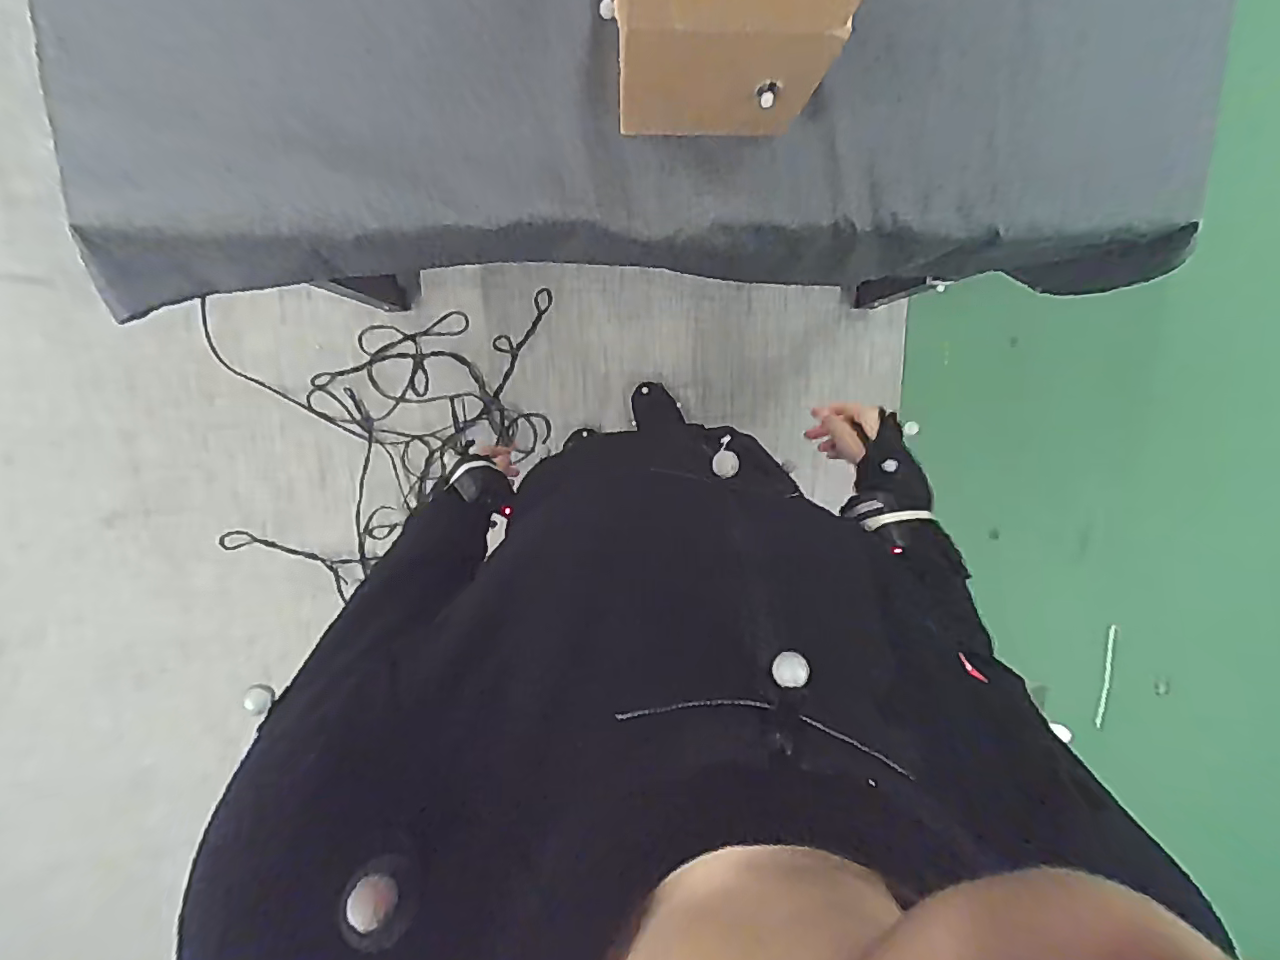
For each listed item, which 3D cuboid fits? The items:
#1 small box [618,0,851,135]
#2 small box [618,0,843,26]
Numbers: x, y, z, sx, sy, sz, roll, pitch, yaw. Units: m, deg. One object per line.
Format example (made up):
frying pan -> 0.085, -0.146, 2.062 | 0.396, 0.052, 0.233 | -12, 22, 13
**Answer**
small box -> 0.069, -0.431, 0.475 | 0.179, 0.176, 0.168 | -1, 98, -2
small box -> 0.069, -0.411, 0.314 | 0.179, 0.176, 0.168 | 0, 98, -4
